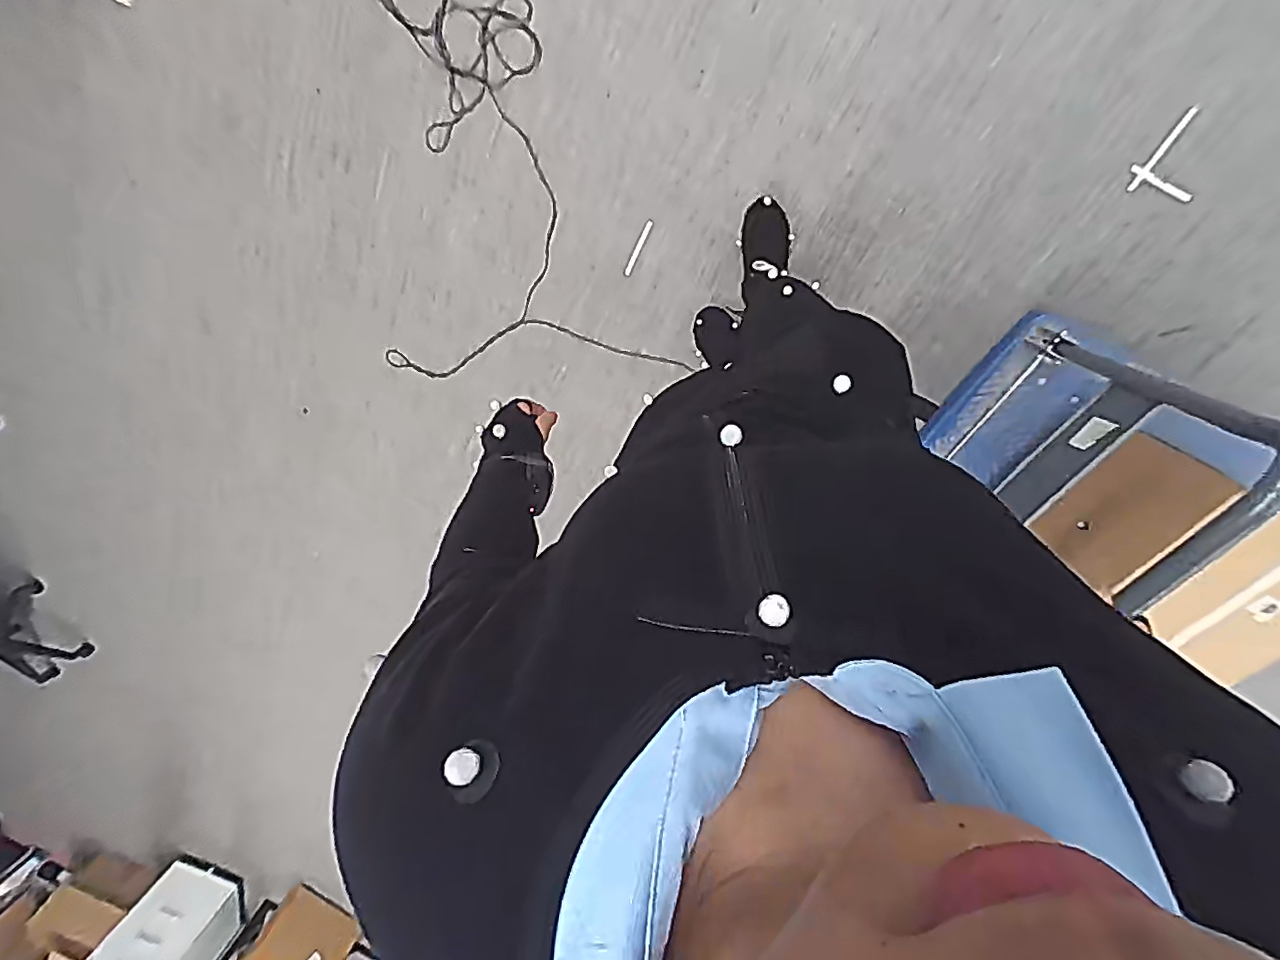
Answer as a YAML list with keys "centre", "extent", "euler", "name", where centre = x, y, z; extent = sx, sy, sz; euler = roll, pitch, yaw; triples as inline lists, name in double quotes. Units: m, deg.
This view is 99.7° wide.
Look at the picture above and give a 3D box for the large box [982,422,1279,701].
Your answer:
- centre: [1.026, 0.157, 1.119]
  extent: [0.320, 0.320, 0.408]
  euler: [30, 116, -3]
  name: "large box"
